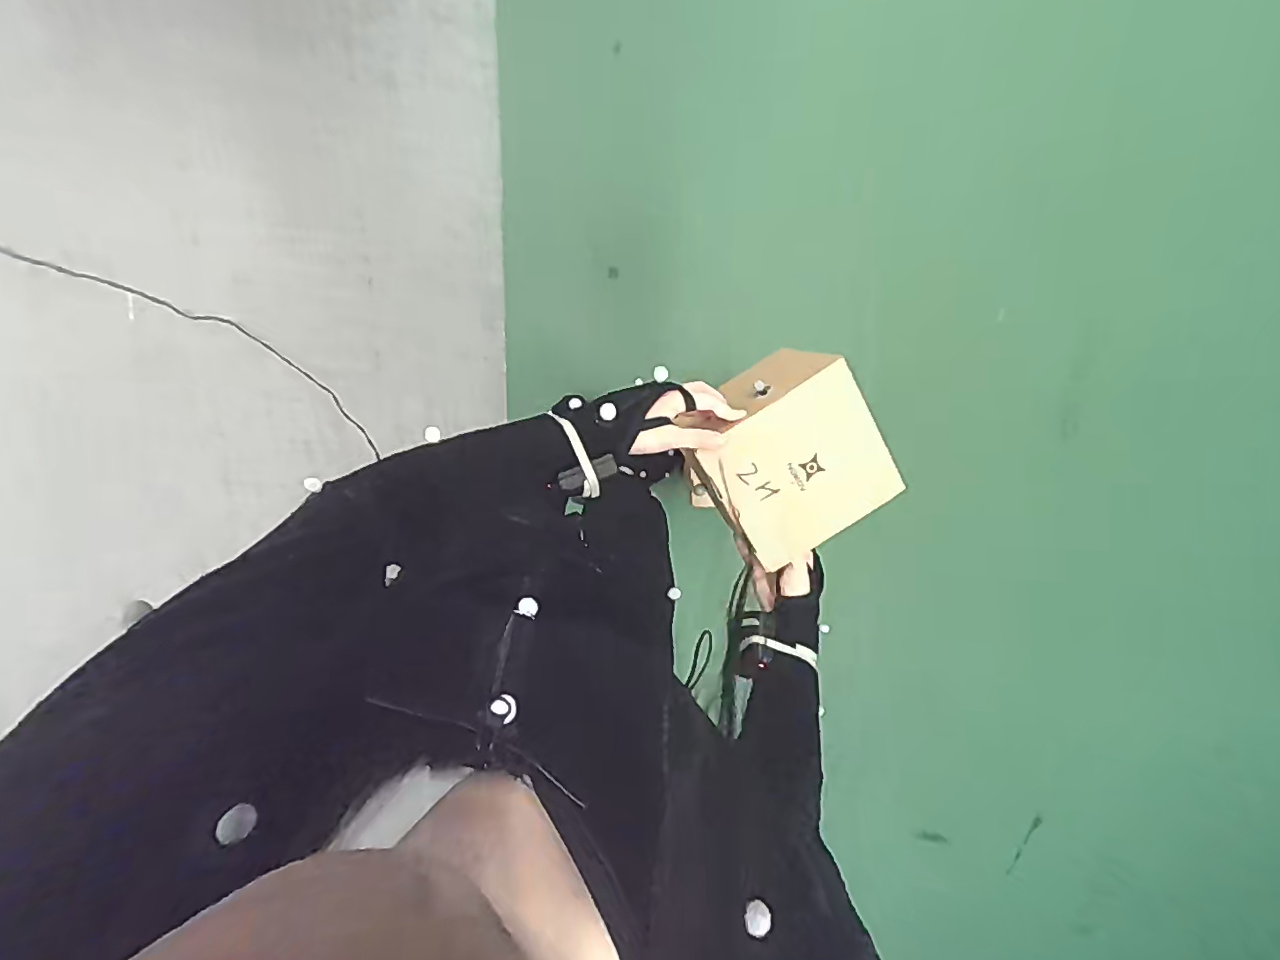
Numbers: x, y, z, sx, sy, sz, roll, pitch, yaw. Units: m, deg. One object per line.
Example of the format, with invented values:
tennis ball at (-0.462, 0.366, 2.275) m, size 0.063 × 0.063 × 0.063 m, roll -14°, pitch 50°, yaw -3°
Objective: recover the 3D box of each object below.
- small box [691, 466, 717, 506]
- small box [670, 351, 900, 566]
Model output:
small box at (0.209, -0.042, 1.211) m, size 0.179 × 0.176 × 0.168 m, roll 1°, pitch 103°, yaw 2°
small box at (0.156, -0.038, 0.635) m, size 0.179 × 0.176 × 0.168 m, roll -34°, pitch 107°, yaw 4°
